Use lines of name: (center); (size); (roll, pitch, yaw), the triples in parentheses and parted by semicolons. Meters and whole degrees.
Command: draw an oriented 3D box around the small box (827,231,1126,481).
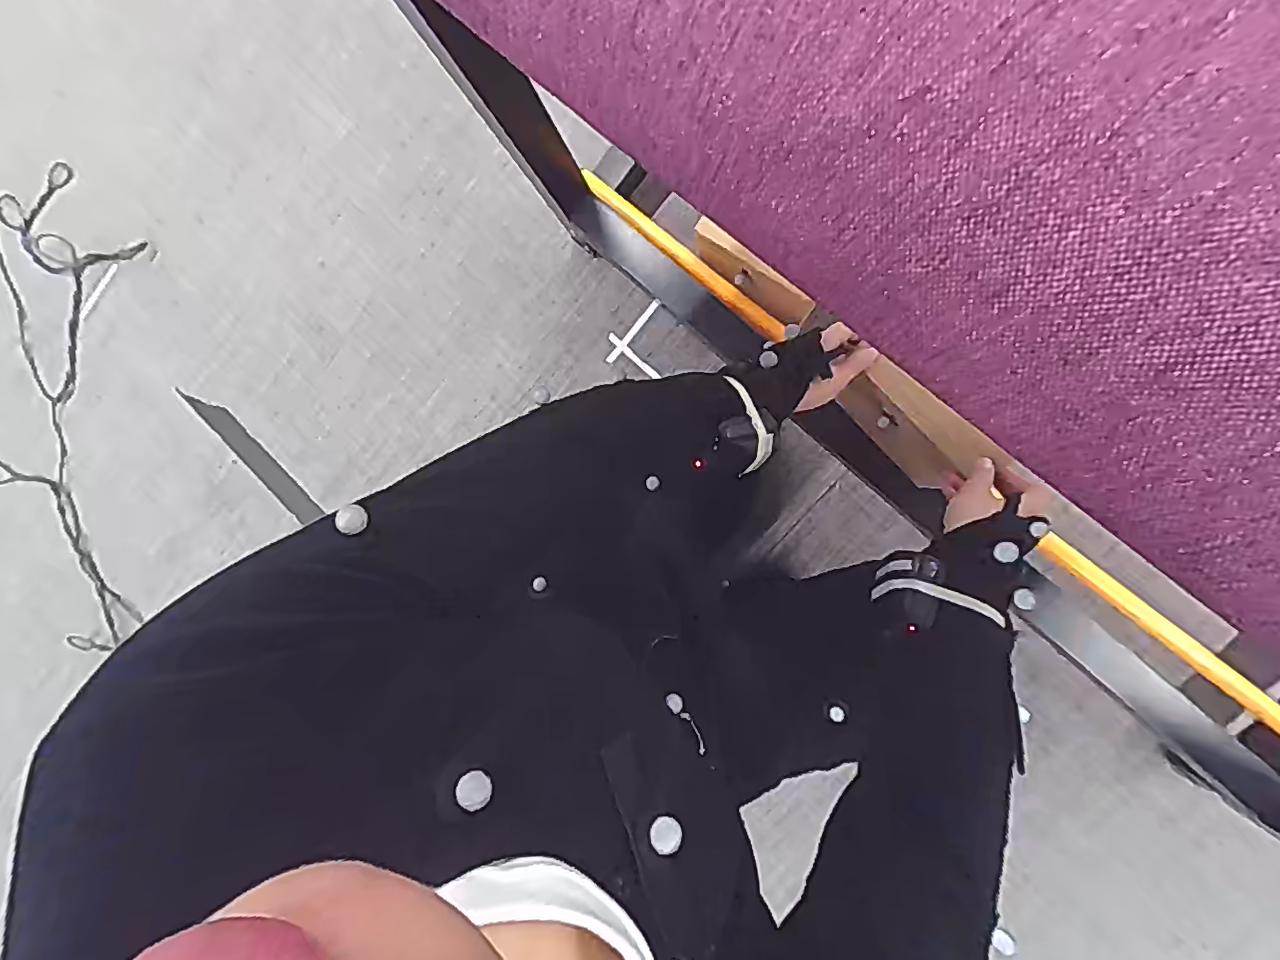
small box: (0.325, -0.112, 0.571); (0.168, 0.176, 0.179); (-42, 84, 7)

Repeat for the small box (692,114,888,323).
small box: (0.193, -0.334, 0.732); (0.179, 0.176, 0.168); (35, 97, 9)
